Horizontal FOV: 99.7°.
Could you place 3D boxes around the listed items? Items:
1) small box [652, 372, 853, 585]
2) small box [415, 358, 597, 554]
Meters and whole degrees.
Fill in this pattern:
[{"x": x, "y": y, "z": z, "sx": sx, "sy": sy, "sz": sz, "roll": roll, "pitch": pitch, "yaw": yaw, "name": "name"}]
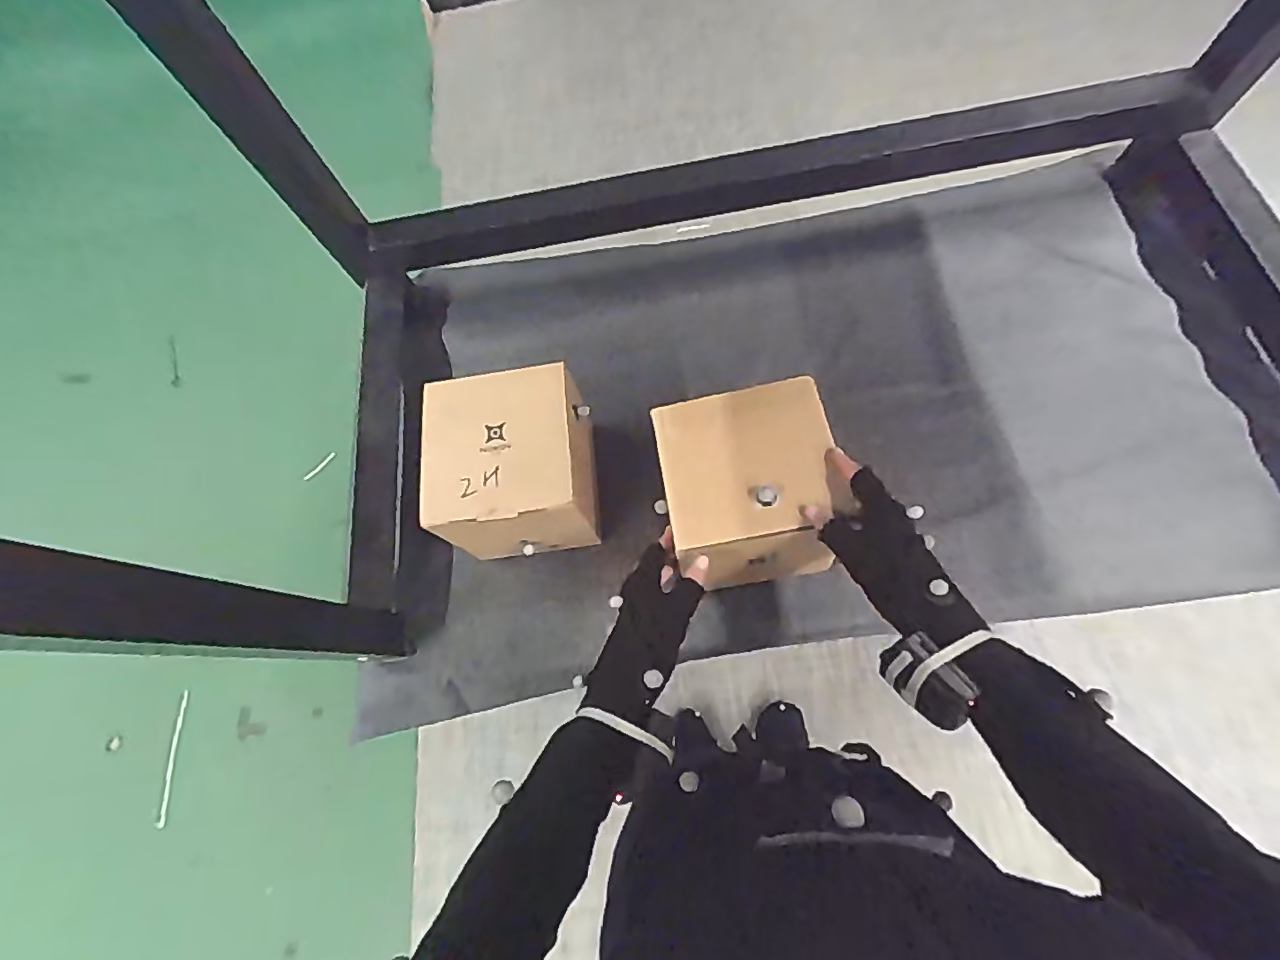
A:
[{"x": 0.112, "y": 0.003, "z": 0.611, "sx": 0.179, "sy": 0.168, "sz": 0.176, "roll": -12, "pitch": 64, "yaw": 4, "name": "small box"}, {"x": -0.152, "y": -0.021, "z": 0.662, "sx": 0.168, "sy": 0.176, "sz": 0.179, "roll": -8, "pitch": 69, "yaw": 4, "name": "small box"}]
